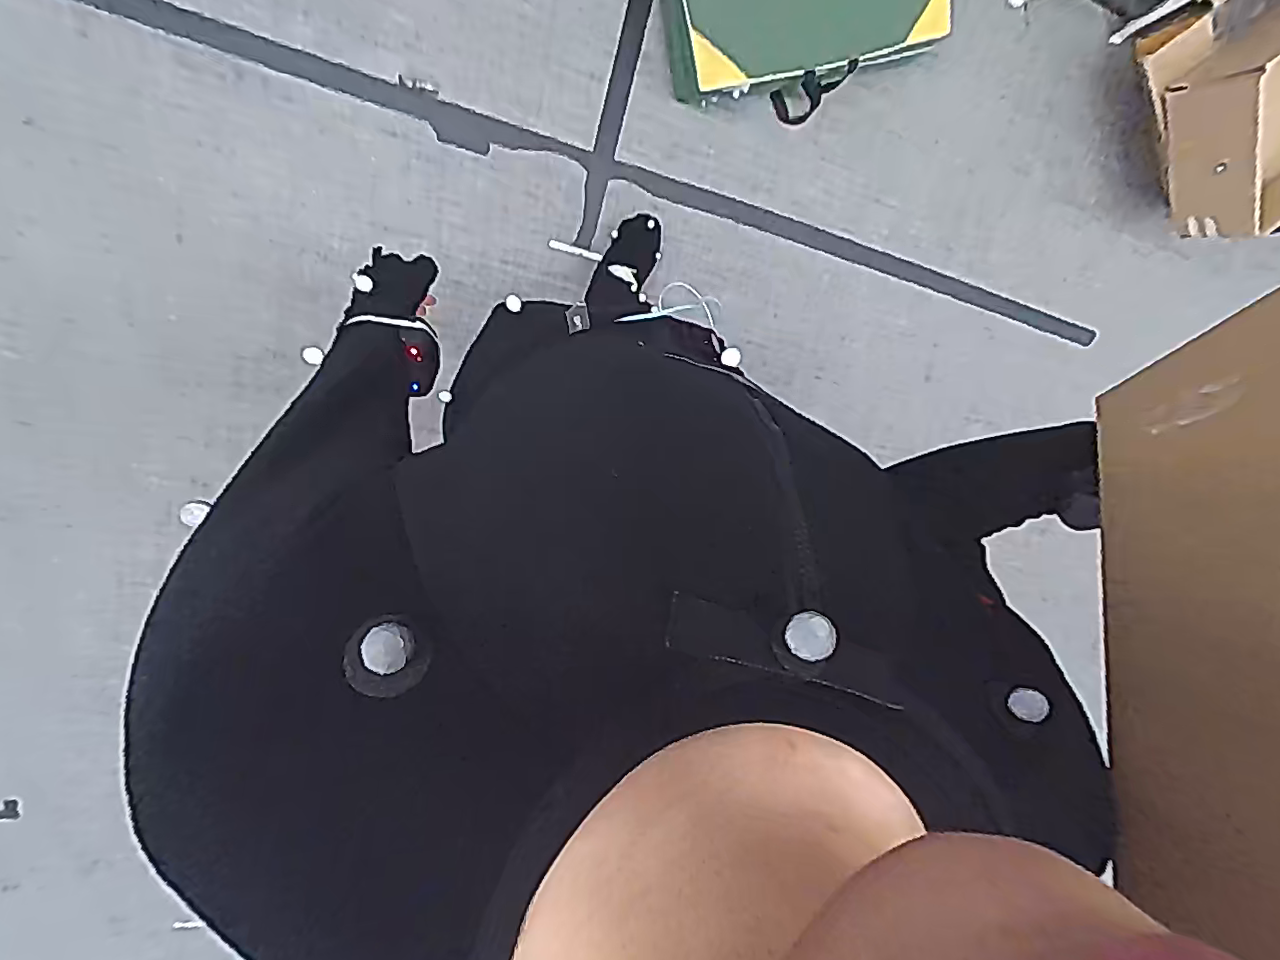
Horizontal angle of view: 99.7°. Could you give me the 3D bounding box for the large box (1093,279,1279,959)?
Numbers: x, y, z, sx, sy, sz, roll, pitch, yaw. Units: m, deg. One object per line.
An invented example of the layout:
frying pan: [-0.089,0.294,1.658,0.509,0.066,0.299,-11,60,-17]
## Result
large box: [0.421,0.077,0.169,0.320,0.320,0.408,35,57,-1]
